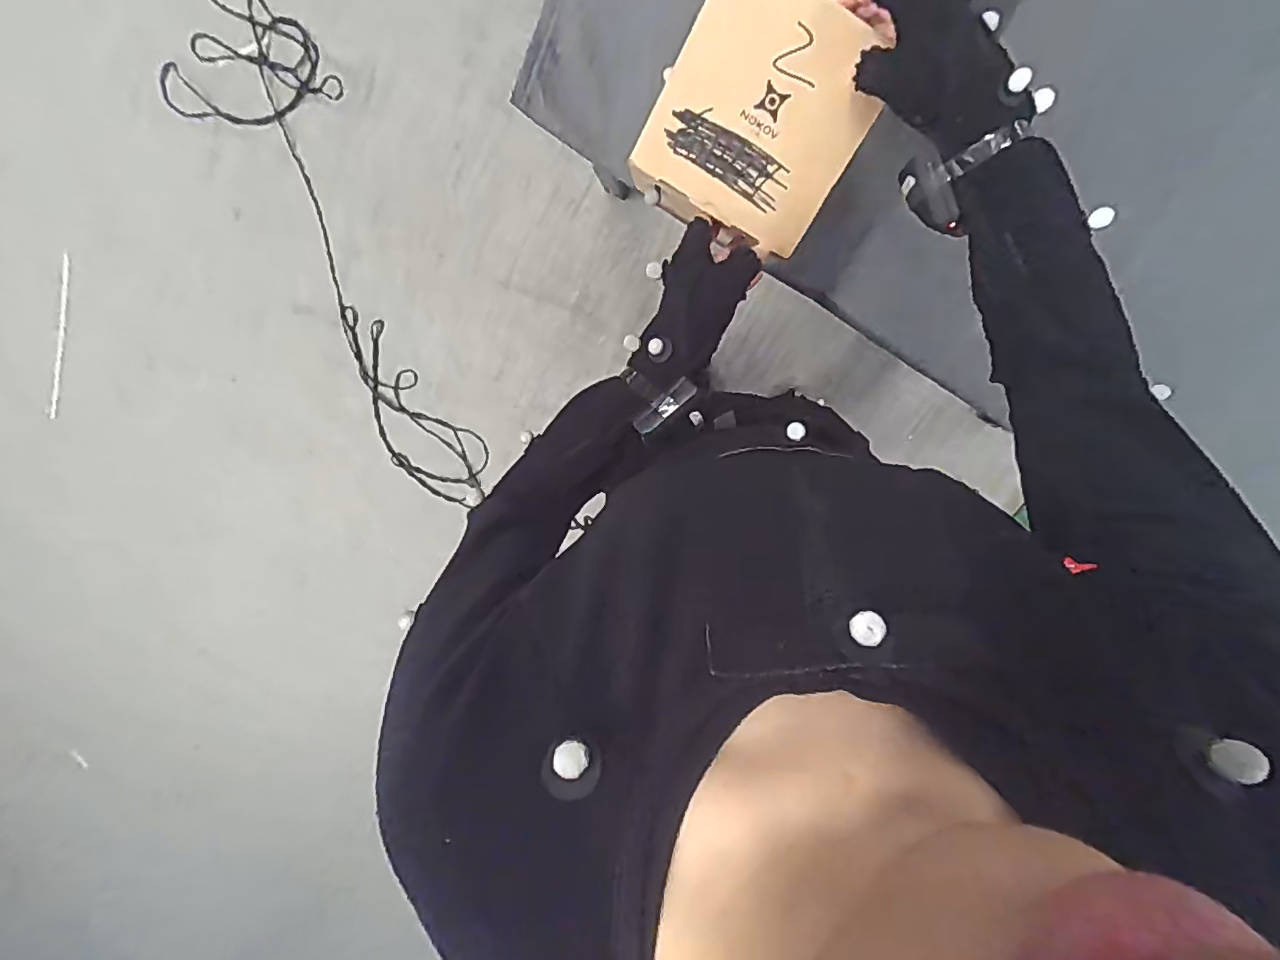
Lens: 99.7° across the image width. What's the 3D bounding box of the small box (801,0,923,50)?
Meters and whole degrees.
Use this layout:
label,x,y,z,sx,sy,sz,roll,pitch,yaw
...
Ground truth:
label,x,y,z,sx,sy,sz,roll,pitch,yaw
small box,0.210,-0.517,0.451,0.168,0.176,0.179,27,108,-8
